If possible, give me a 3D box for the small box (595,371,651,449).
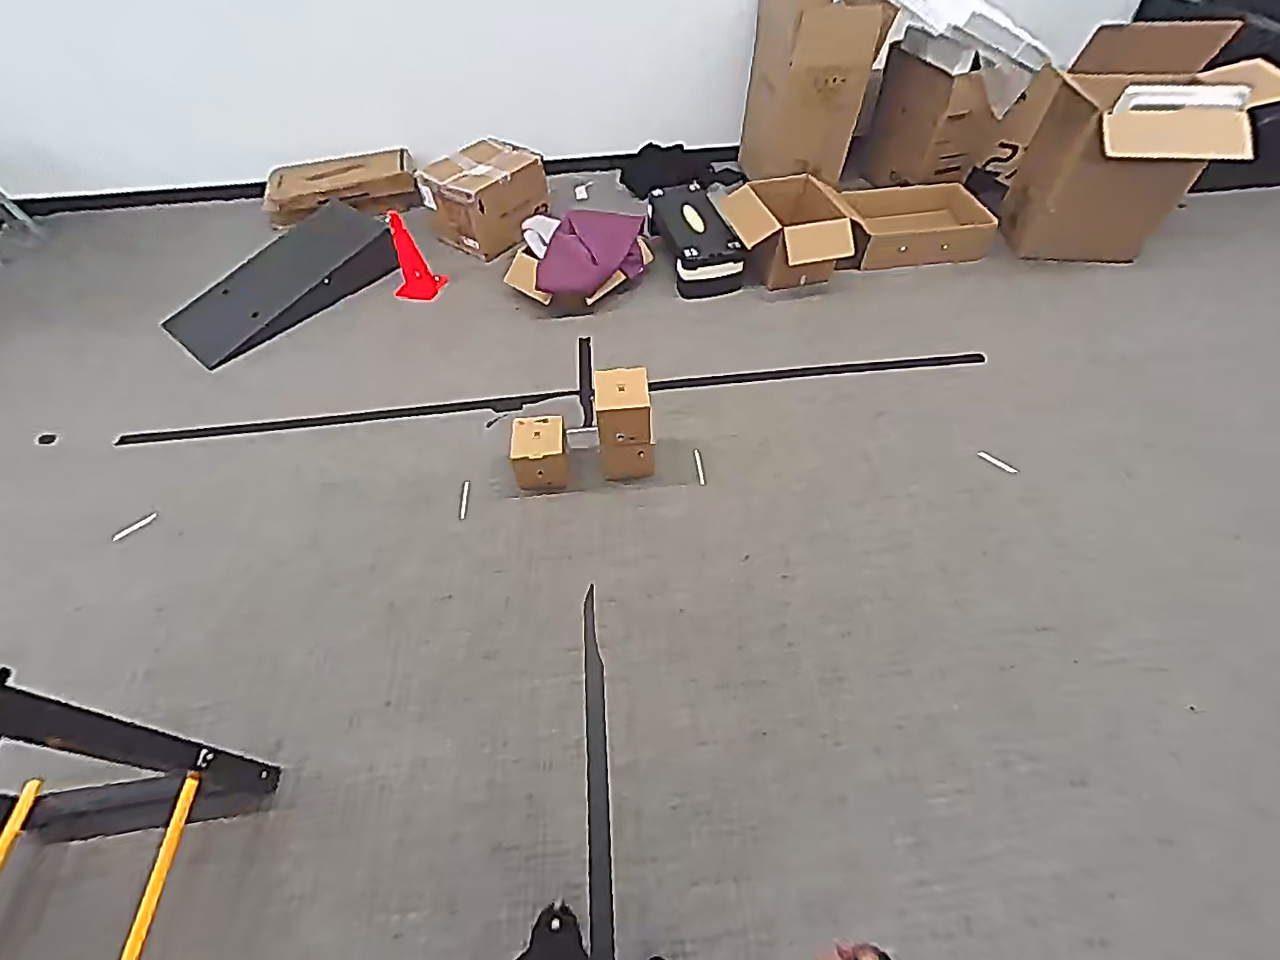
[{"bbox_3d":[-0.055,-0.221,1.713,0.168,0.176,0.179,-5,54,-1],"label":"small box"}]

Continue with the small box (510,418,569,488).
[{"bbox_3d":[-0.332,-0.084,1.821,0.168,0.176,0.179,-4,54,-1],"label":"small box"}]

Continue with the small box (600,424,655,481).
[{"bbox_3d":[-0.046,-0.114,1.836,0.179,0.176,0.168,-6,53,-3],"label":"small box"}]
